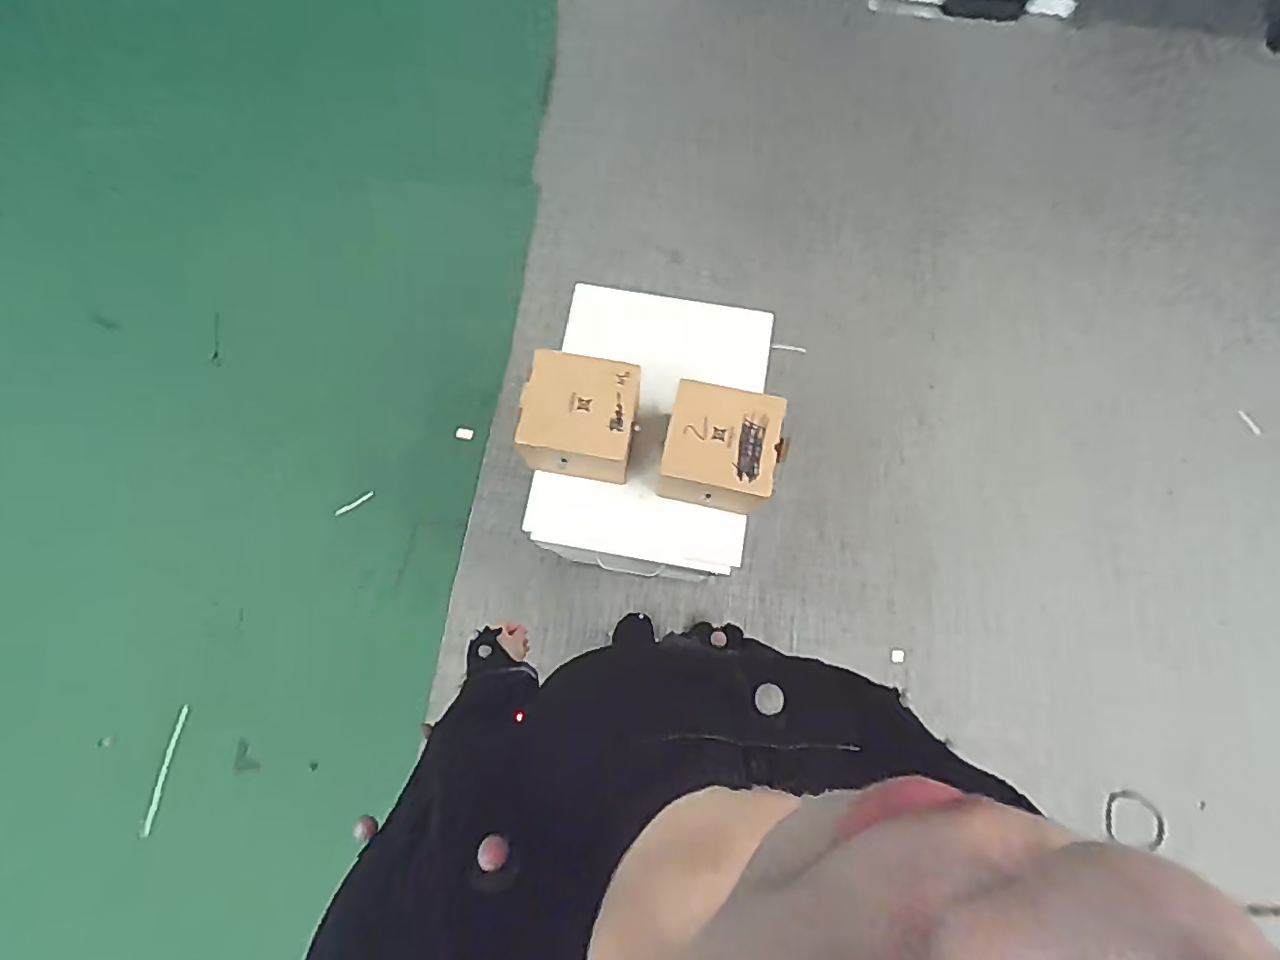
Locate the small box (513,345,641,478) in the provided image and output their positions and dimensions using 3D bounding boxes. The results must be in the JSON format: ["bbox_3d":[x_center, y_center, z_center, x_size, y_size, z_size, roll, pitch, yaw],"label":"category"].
[{"bbox_3d":[-0.099,-0.108,0.926,0.179,0.176,0.168,10,77,1],"label":"small box"}]
